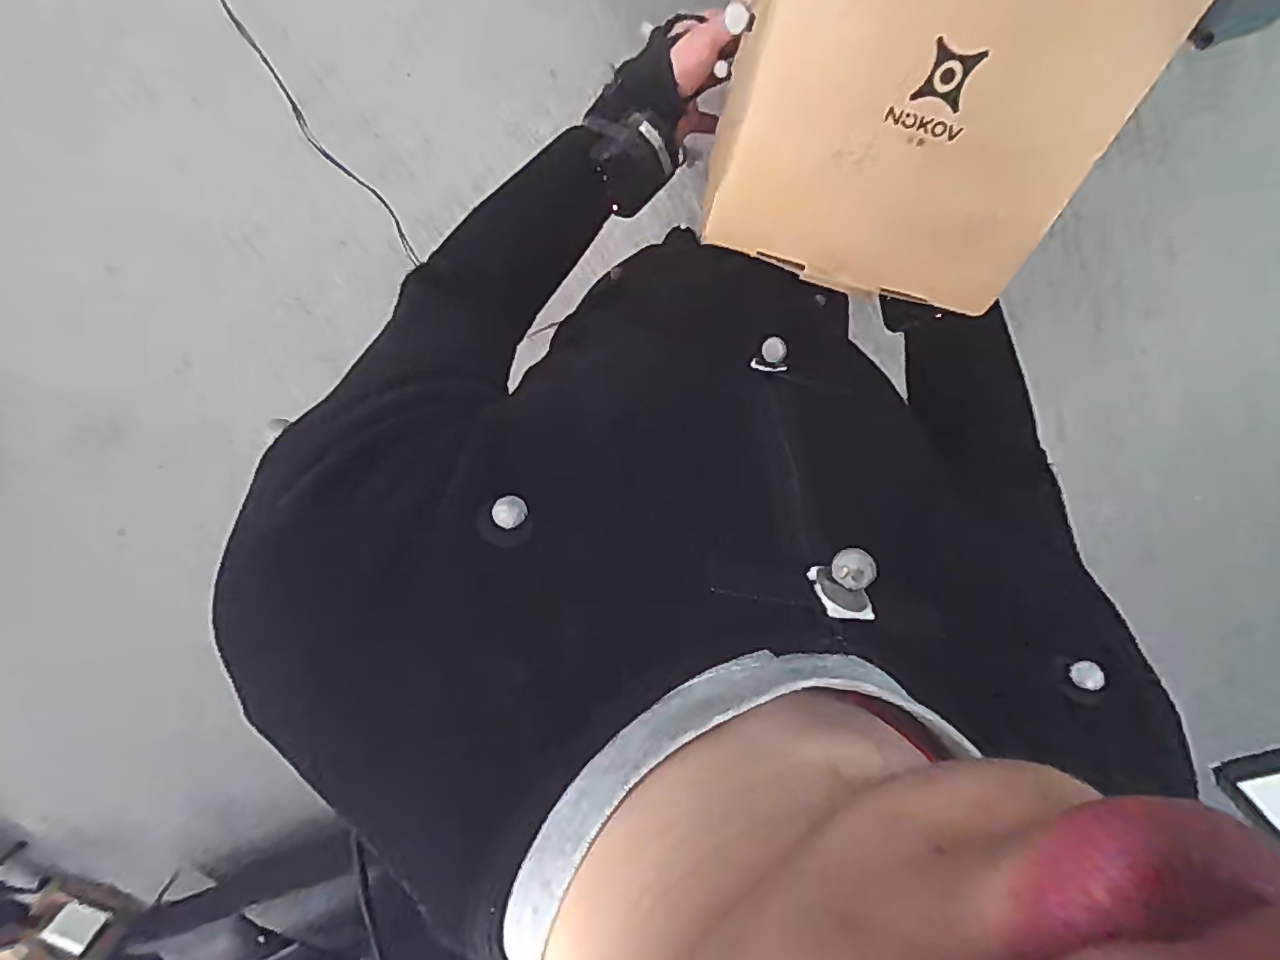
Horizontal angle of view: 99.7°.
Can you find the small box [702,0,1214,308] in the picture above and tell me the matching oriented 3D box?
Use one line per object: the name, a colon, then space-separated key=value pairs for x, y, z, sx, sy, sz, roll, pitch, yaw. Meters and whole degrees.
small box: x=0.142 y=-0.230 z=0.293 sx=0.168 sy=0.176 sz=0.179 roll=14 pitch=136 yaw=-3
